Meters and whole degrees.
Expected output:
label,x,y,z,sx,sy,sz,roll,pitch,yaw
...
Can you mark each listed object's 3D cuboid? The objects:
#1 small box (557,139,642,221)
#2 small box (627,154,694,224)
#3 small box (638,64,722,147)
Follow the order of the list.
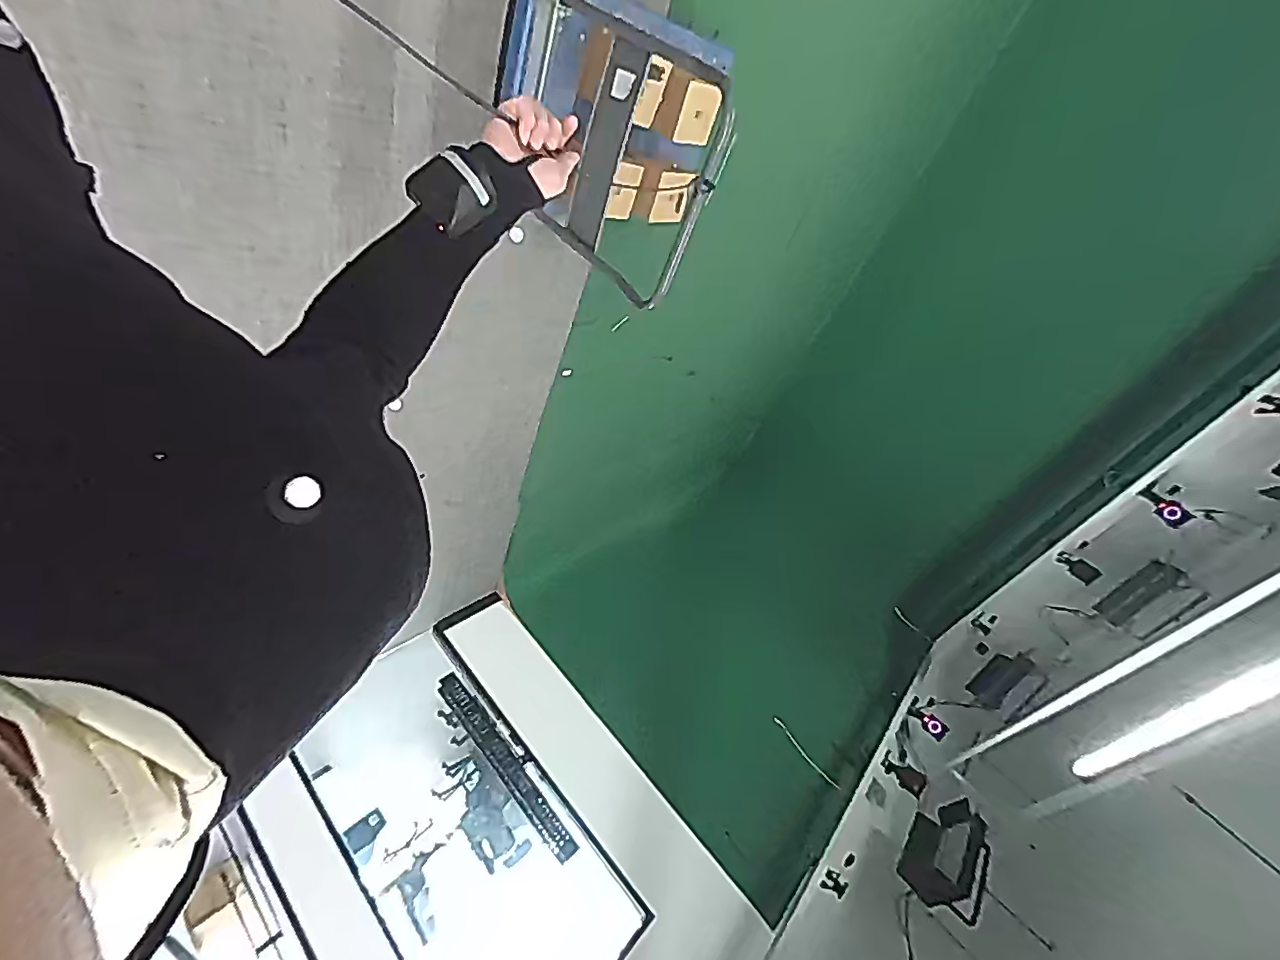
label,x,y,z,sx,sy,sz,roll,pitch,yaw
small box,-0.129,-0.938,1.695,0.179,0.176,0.168,-21,147,-45
small box,0.049,-1.014,1.883,0.179,0.176,0.168,-24,149,-40
small box,0.122,-1.189,1.717,0.179,0.176,0.168,-26,151,-41
